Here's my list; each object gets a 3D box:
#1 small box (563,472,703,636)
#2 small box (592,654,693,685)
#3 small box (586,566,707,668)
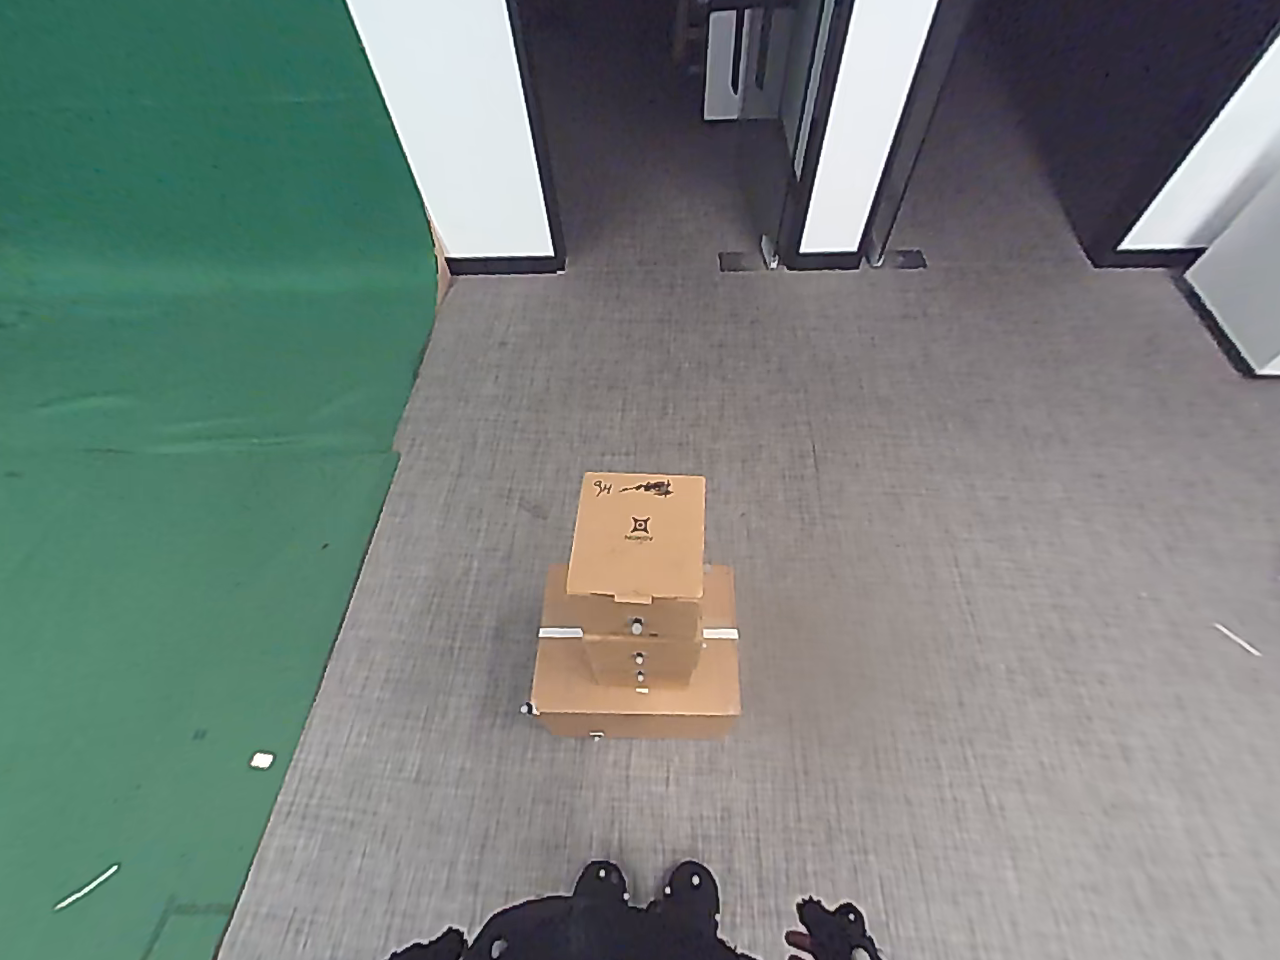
[{"bbox_3d":[0.001,0.108,0.751,0.168,0.176,0.179,3,59,6],"label":"small box"},{"bbox_3d":[0.011,0.287,1.026,0.179,0.176,0.168,2,58,3],"label":"small box"},{"bbox_3d":[0.010,0.204,0.884,0.179,0.176,0.168,-2,58,1],"label":"small box"}]
